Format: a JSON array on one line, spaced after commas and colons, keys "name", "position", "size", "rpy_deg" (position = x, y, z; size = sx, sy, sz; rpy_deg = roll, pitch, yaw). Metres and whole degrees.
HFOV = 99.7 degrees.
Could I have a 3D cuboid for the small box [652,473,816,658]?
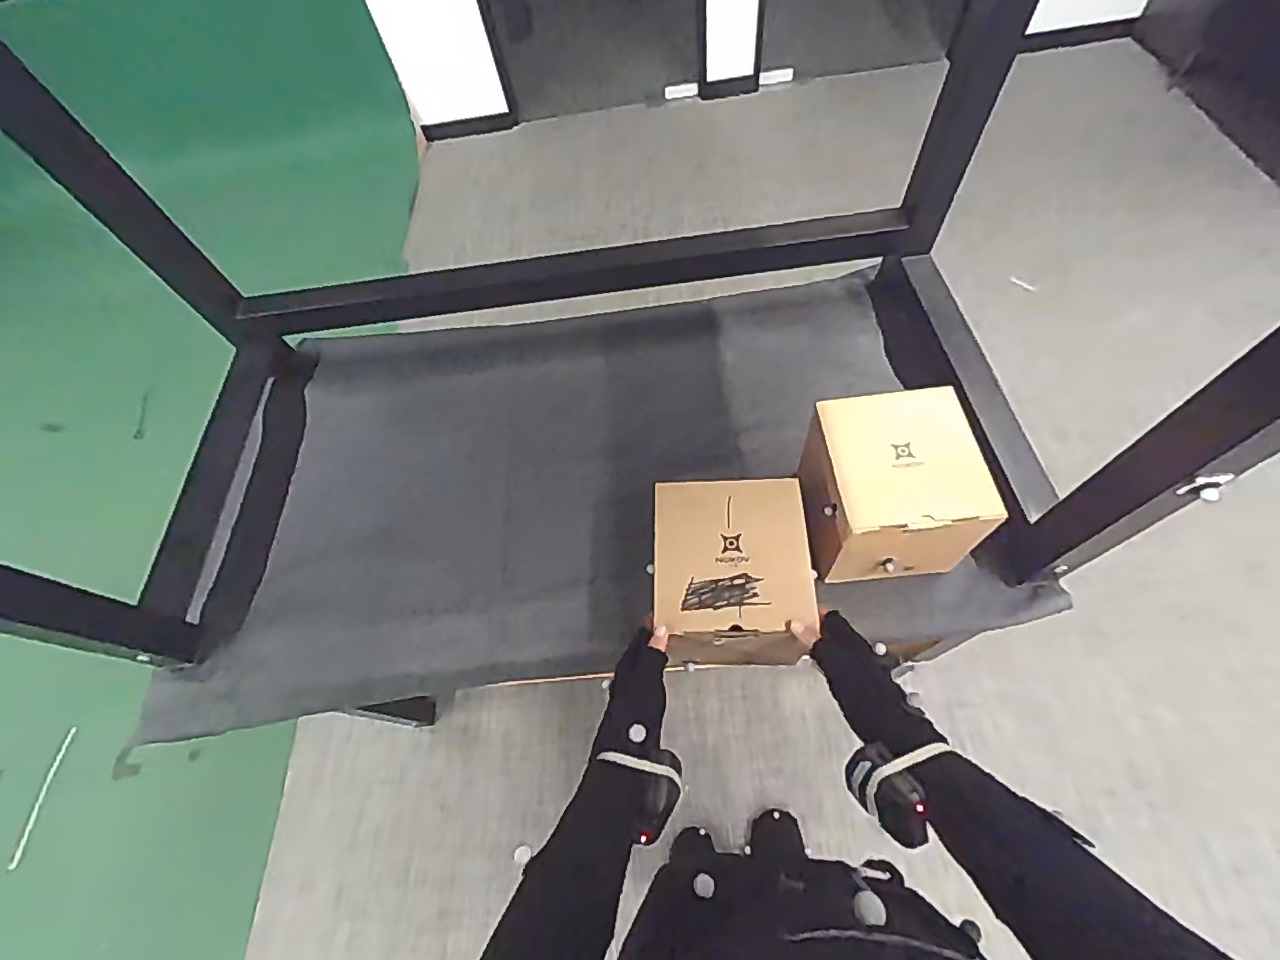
[{"name": "small box", "position": [0.106, 0.110, 0.646], "size": [0.168, 0.176, 0.179], "rpy_deg": [-2, 60, 7]}]
